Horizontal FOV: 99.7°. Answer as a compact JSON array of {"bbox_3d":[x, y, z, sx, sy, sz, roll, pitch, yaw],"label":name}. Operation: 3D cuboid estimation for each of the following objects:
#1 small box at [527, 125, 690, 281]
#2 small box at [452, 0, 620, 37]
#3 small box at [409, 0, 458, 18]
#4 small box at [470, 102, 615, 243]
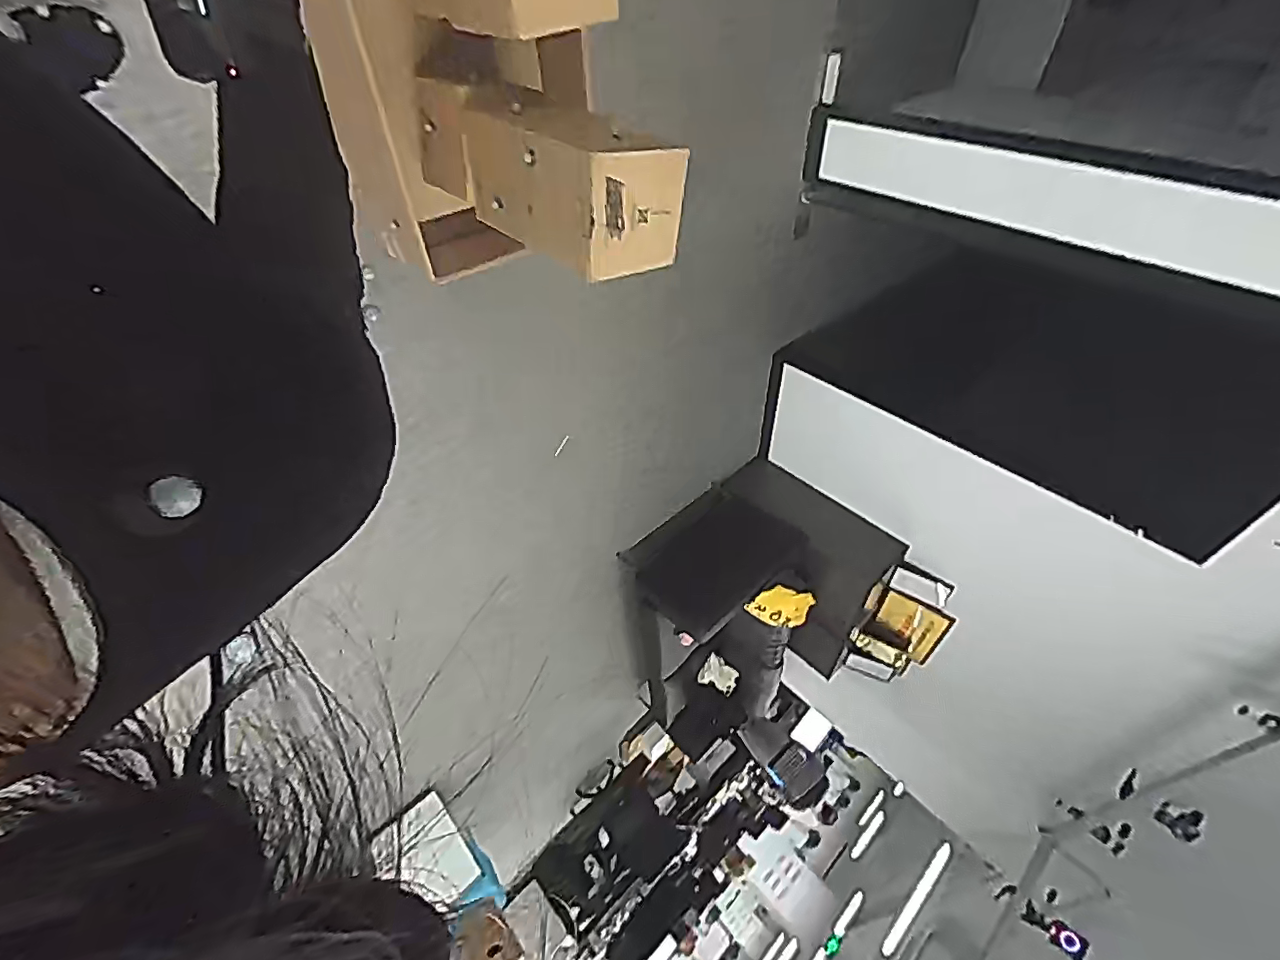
[{"bbox_3d":[-0.056,-0.417,0.807,0.179,0.176,0.168,-27,142,-35],"label":"small box"},{"bbox_3d":[-0.150,-0.701,0.706,0.179,0.176,0.168,-35,145,-25],"label":"small box"},{"bbox_3d":[-0.249,-0.801,0.791,0.179,0.176,0.168,-35,144,-25],"label":"small box"},{"bbox_3d":[-0.162,-0.509,0.890,0.179,0.176,0.168,-29,143,-32],"label":"small box"}]
